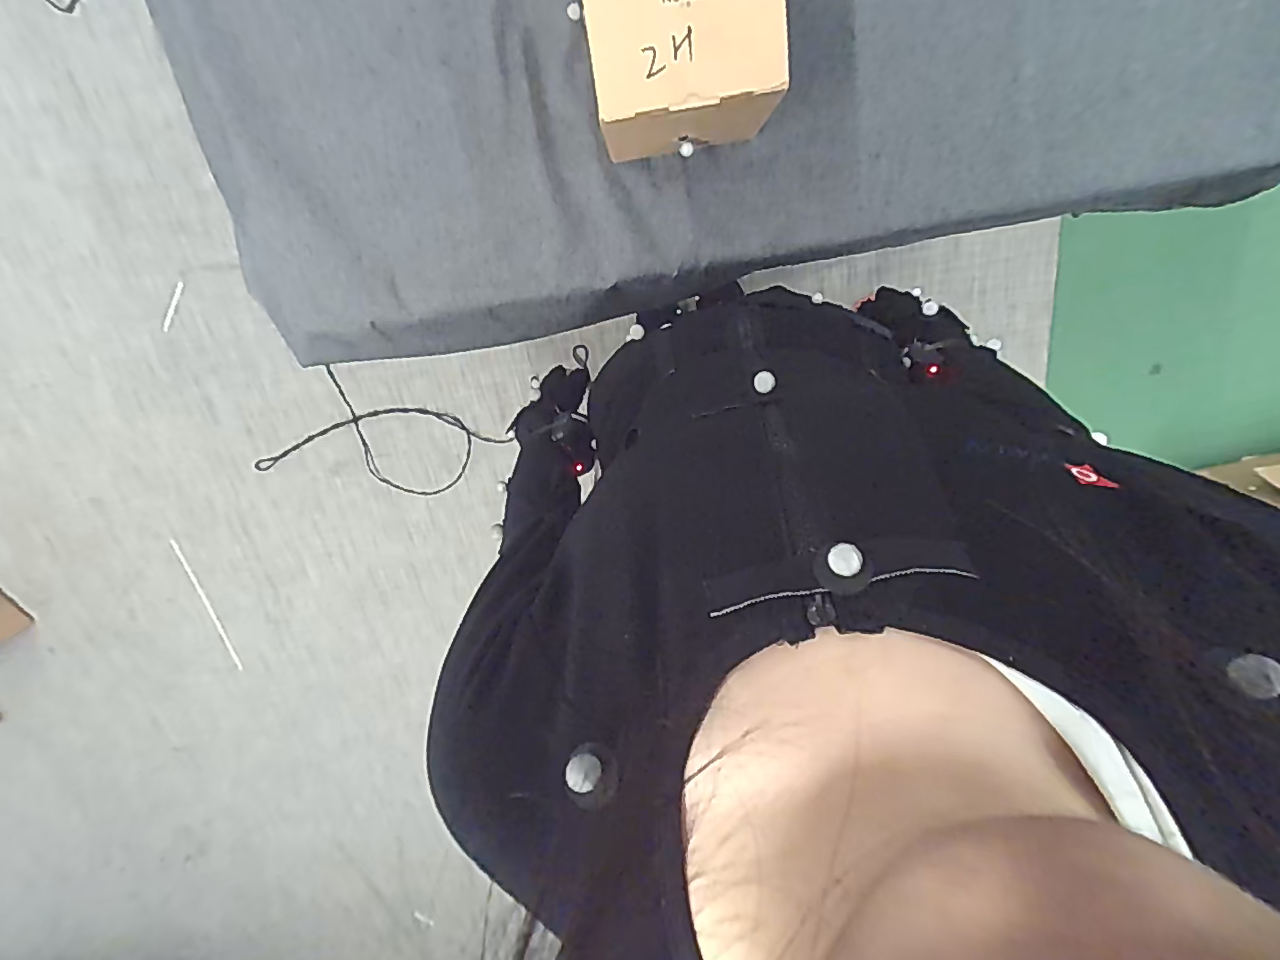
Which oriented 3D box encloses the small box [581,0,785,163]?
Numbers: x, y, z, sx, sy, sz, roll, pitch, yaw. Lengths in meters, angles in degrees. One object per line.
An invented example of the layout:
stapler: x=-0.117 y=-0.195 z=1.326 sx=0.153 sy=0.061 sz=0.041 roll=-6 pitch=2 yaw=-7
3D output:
small box: x=0.033 y=-0.428 z=0.514 sx=0.168 sy=0.176 sz=0.179 roll=-8 pitch=110 yaw=5
